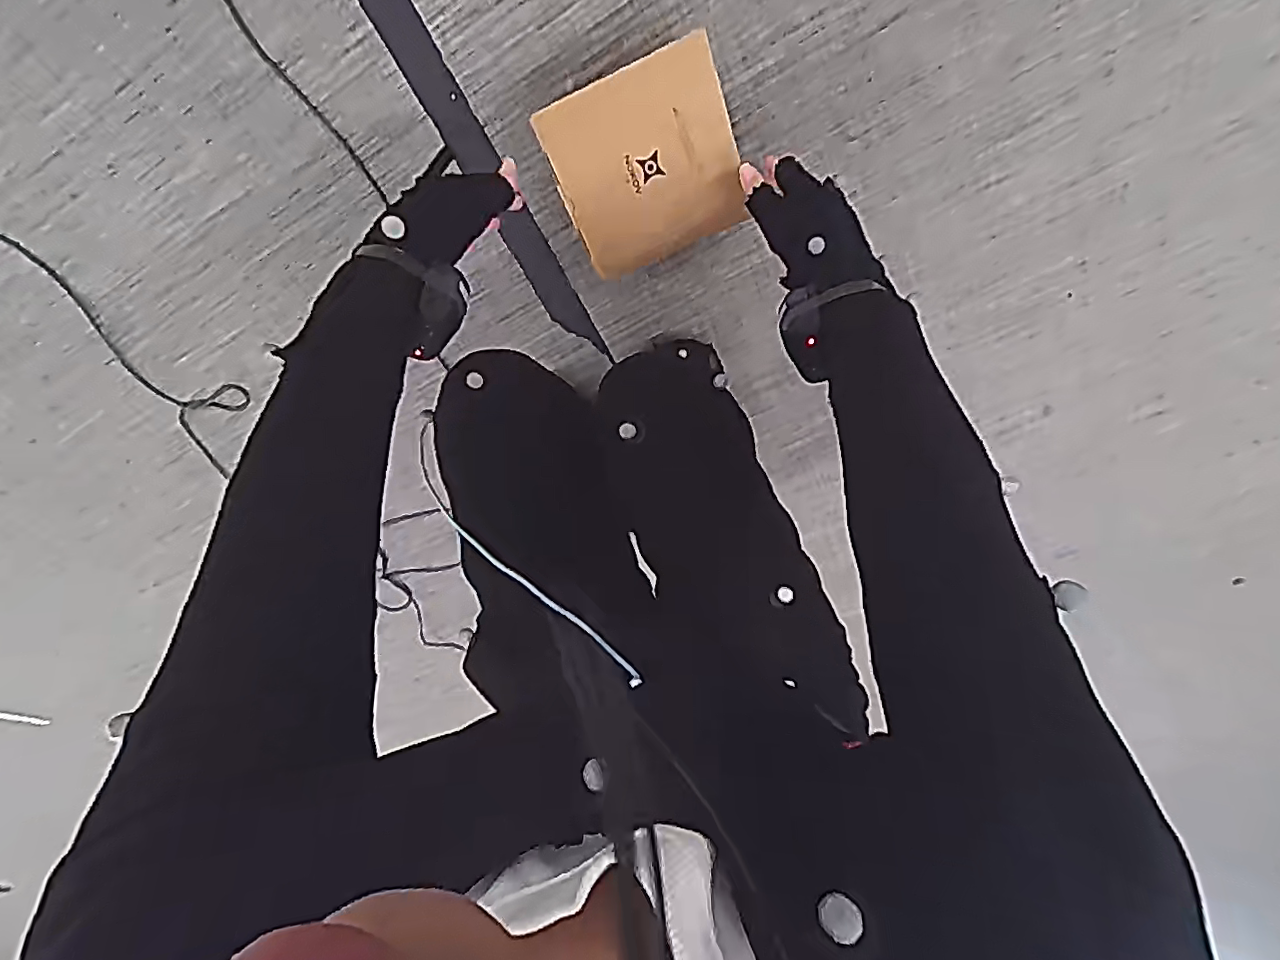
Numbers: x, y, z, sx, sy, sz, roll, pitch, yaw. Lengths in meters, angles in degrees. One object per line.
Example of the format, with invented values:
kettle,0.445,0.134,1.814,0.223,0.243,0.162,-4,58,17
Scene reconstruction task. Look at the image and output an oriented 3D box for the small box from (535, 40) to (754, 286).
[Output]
small box,0.008,-0.341,0.597,0.179,0.176,0.168,-20,123,10
